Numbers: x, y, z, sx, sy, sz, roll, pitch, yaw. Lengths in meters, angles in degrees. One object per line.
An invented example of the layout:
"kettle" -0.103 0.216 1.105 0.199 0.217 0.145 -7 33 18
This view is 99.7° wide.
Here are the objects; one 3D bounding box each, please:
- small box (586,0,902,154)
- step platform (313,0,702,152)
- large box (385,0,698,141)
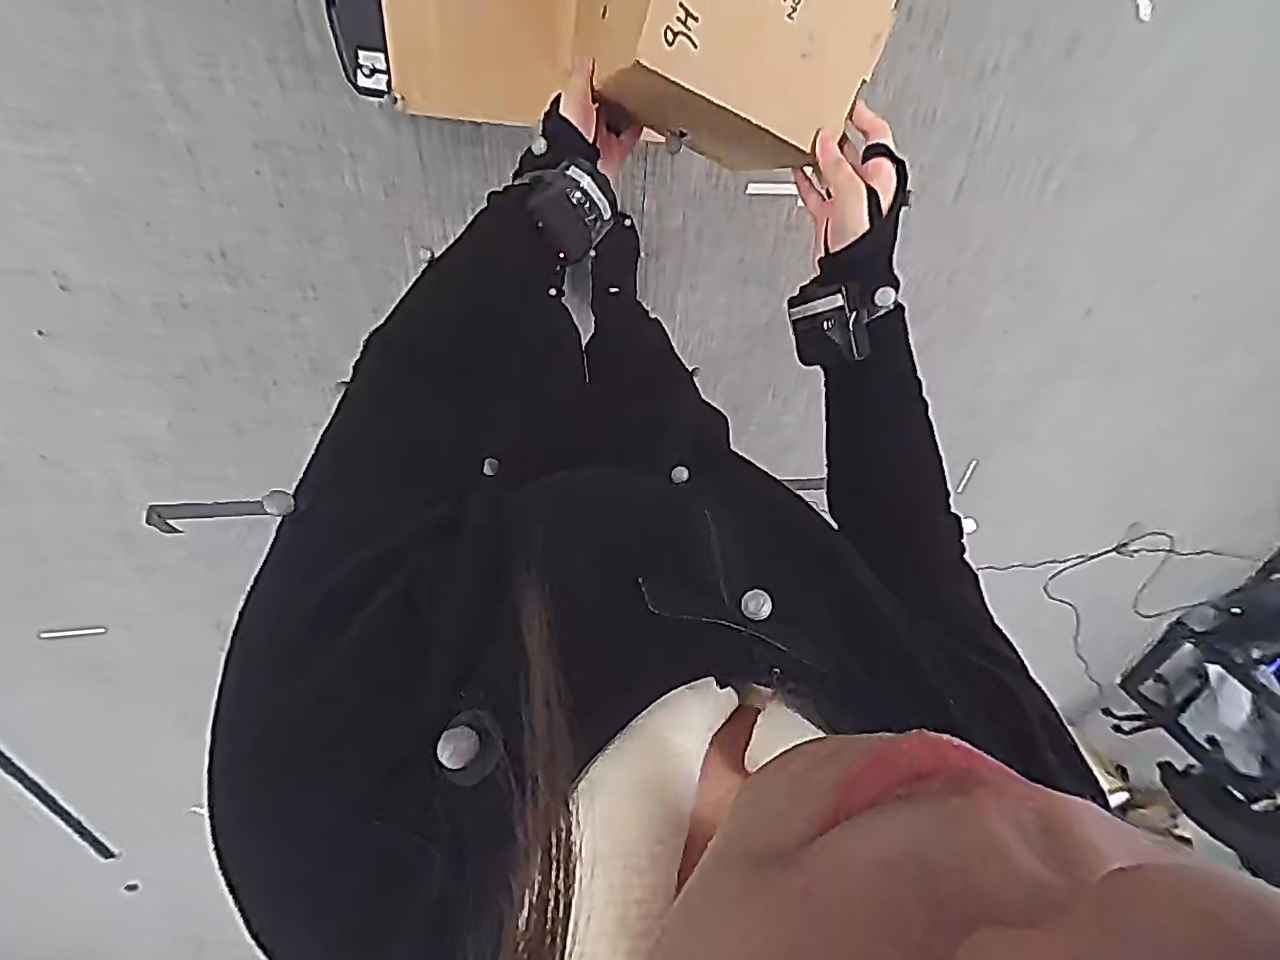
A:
"small box" 0.078 -0.374 0.419 0.179 0.176 0.168 10 112 -25
"step platform" -0.177 -0.790 0.926 0.684 0.204 0.286 3 124 -15
"large box" -0.111 -0.668 0.731 0.408 0.320 0.320 -1 124 -12
